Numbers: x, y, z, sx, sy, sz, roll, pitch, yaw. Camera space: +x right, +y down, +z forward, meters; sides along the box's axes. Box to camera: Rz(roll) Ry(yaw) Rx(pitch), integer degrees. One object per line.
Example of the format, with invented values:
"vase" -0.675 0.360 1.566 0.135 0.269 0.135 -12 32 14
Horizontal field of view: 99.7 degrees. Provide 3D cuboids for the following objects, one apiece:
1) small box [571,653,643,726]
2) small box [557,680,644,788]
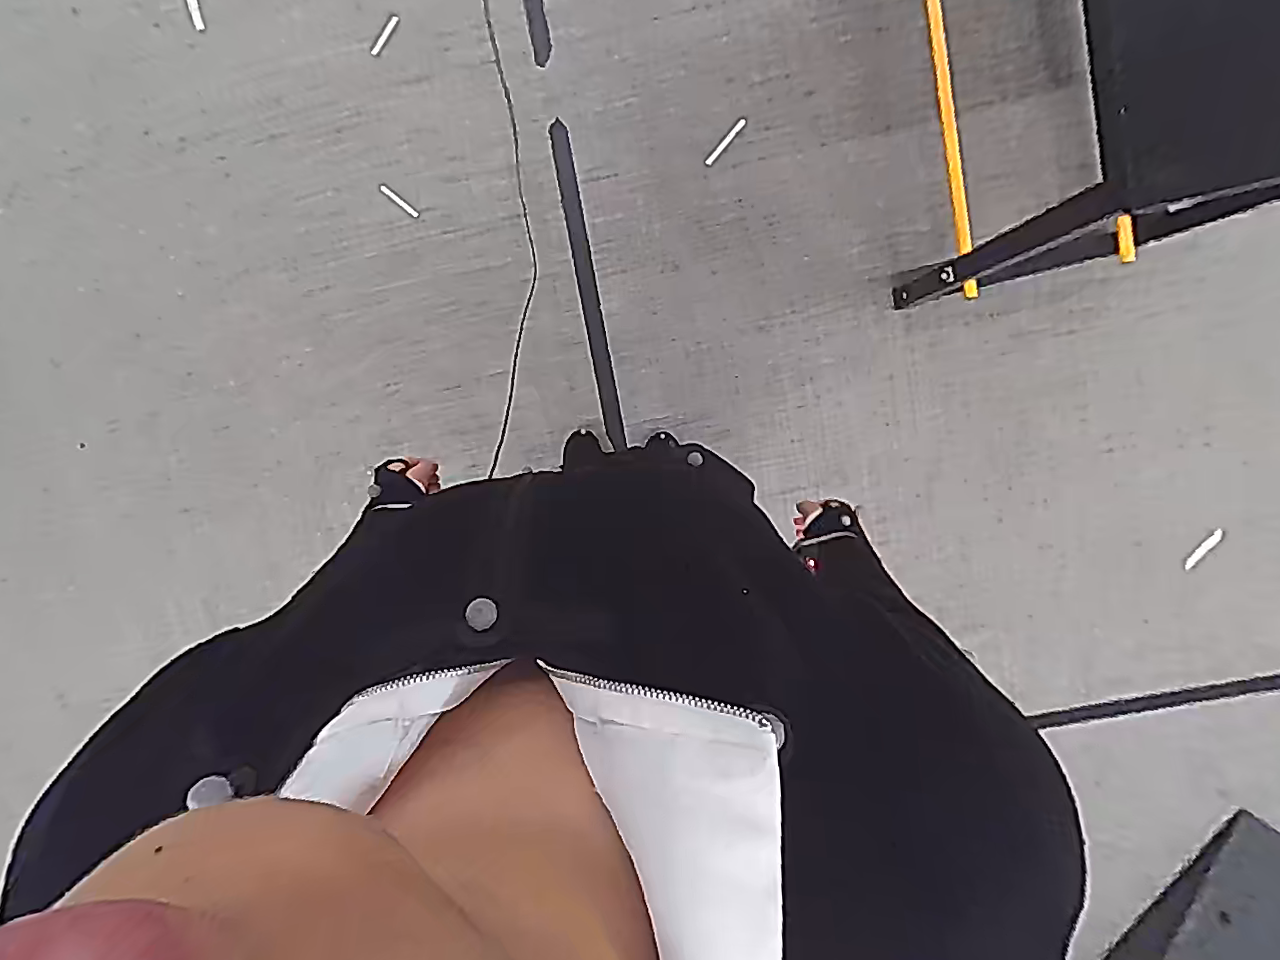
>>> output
"small box" -0.086 0.591 1.488 0.168 0.176 0.179 -10 96 4
"small box" -0.088 0.612 1.323 0.179 0.176 0.168 -11 97 5
